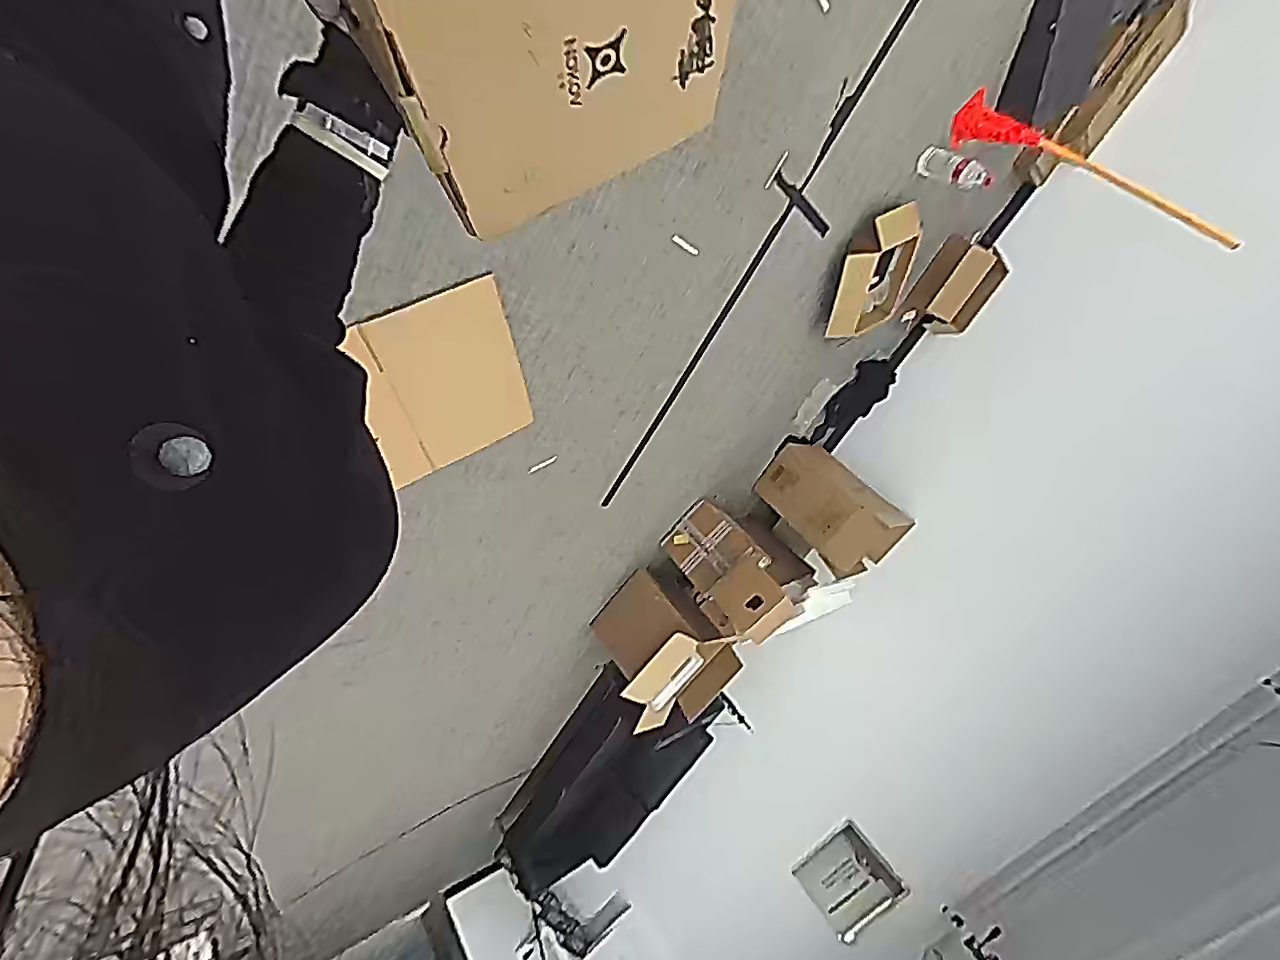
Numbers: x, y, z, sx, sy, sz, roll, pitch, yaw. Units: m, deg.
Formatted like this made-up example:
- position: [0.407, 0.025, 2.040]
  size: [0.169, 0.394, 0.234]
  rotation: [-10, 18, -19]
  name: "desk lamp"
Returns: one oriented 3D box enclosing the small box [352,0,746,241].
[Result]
- position: [-0.061, -0.272, 0.279]
  size: [0.179, 0.176, 0.168]
  rotation: [-29, 173, -6]
  name: "small box"
